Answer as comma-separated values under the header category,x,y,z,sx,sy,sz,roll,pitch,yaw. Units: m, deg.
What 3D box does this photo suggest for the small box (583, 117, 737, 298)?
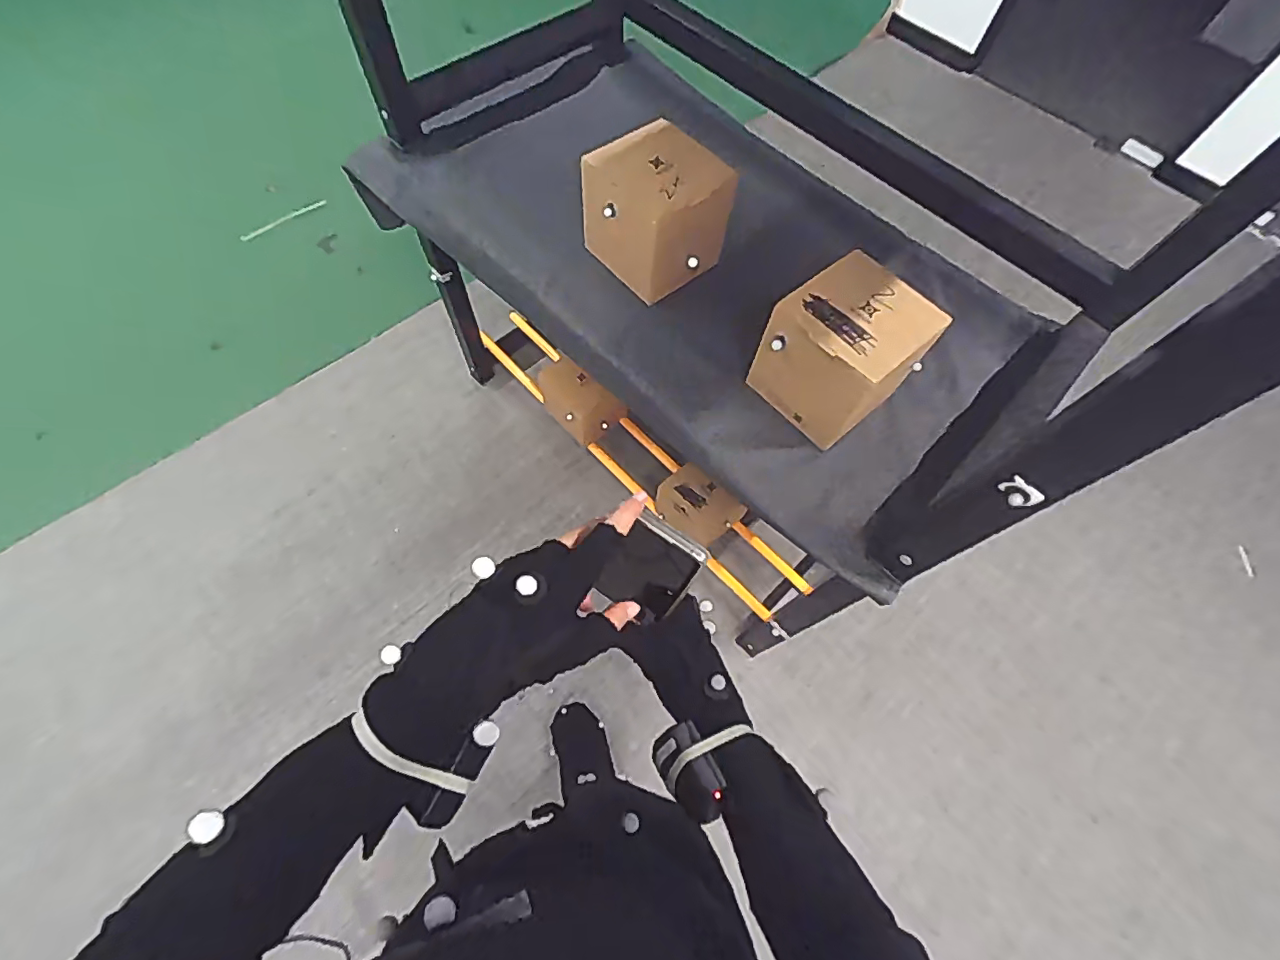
category,x,y,z,sx,sy,sz,roll,pitch,yaw
small box,0.024,-0.433,0.872,0.168,0.176,0.179,-37,72,-18

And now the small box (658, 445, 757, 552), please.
category,x,y,z,sx,sy,sz,roll,pitch,yaw
small box,0.158,0.053,1.340,0.179,0.176,0.168,-37,72,-18
